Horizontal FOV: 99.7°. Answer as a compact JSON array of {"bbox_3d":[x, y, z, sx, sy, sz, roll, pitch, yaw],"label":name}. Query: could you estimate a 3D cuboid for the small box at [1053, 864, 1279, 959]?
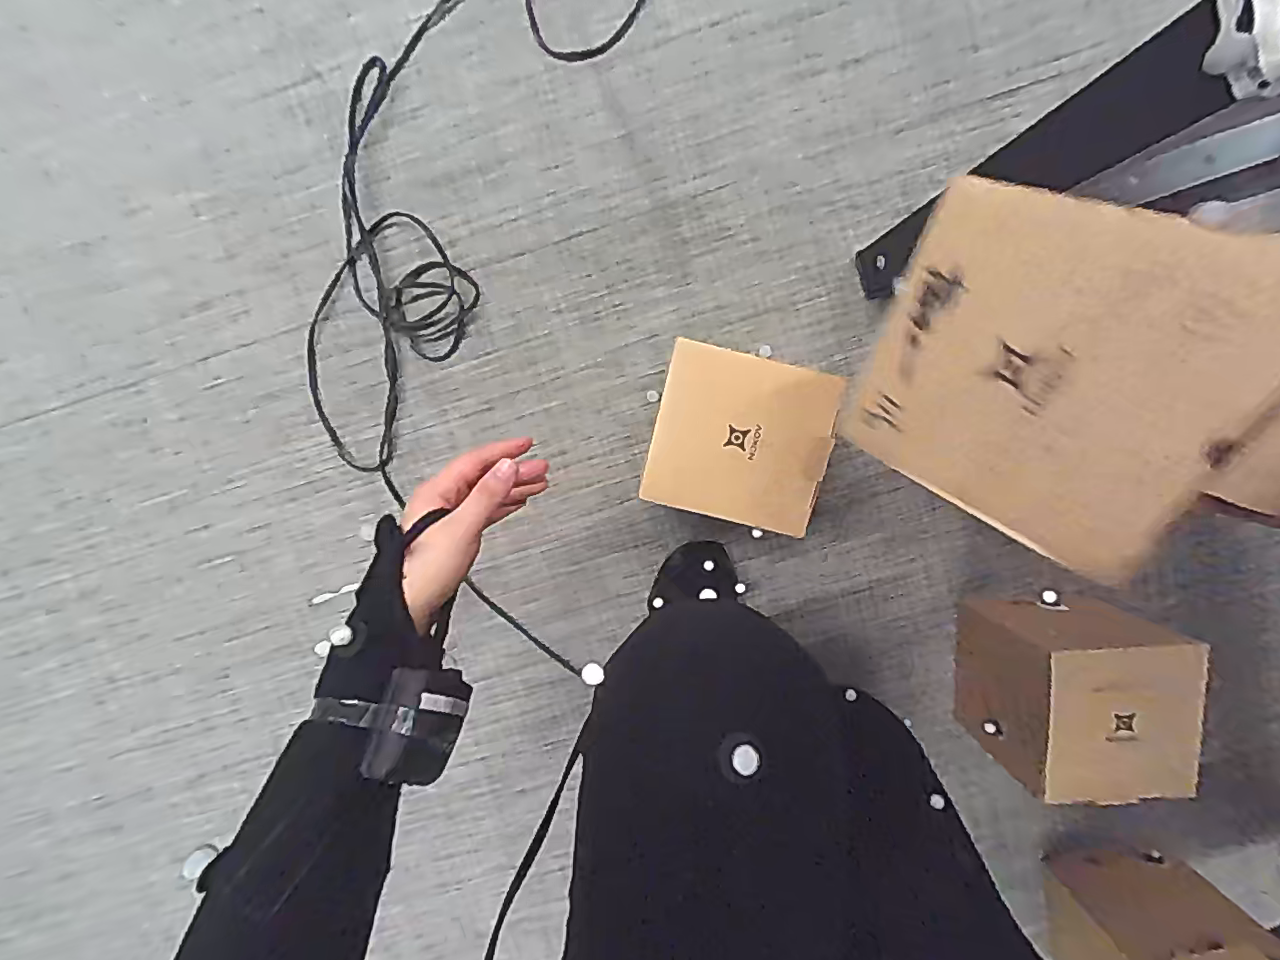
[{"bbox_3d":[0.662,0.623,0.679,0.168,0.176,0.179,-11,97,2],"label":"small box"}]
